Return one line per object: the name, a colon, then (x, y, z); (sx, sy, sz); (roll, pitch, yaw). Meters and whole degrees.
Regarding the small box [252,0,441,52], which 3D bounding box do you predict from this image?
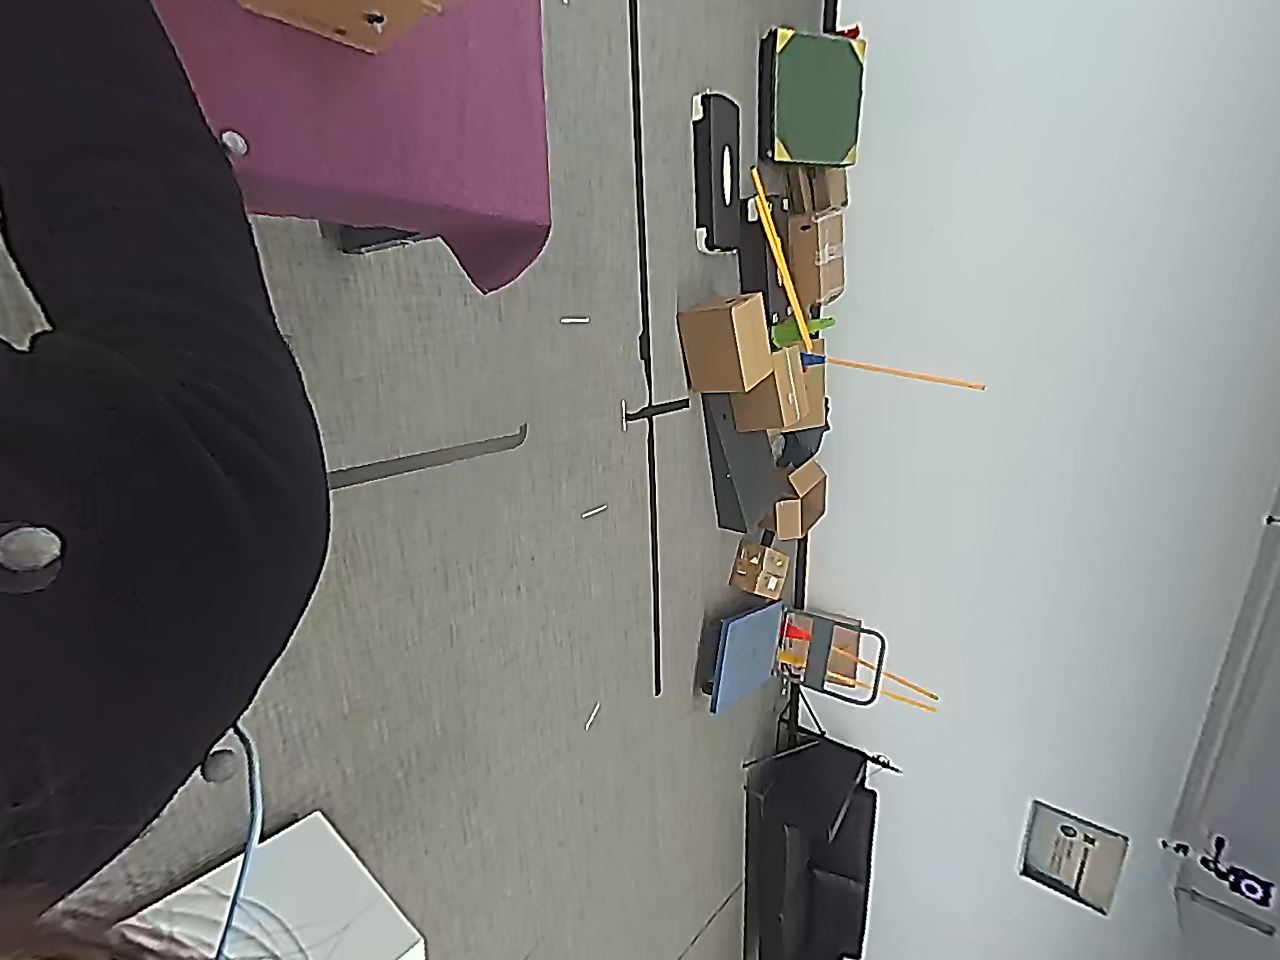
small box: (-0.352, -0.630, 0.609); (0.168, 0.176, 0.179); (-21, 115, -49)
